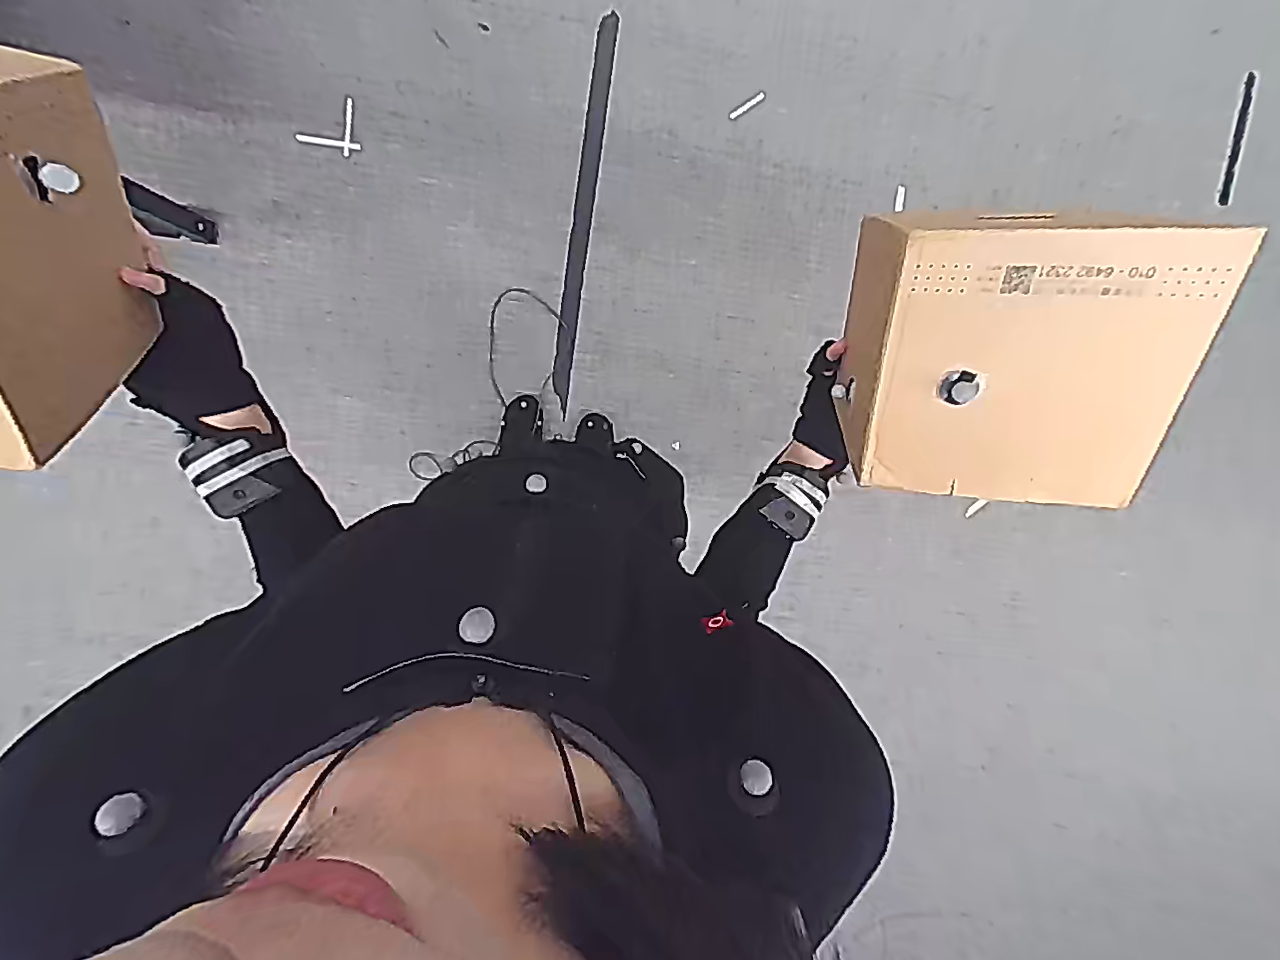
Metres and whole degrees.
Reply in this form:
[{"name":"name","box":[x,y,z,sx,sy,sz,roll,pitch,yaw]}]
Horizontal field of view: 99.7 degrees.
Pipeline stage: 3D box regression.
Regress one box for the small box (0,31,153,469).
[{"name":"small box","box":[-0.390,-0.124,0.259,0.168,0.179,0.176,3,128,-21]}]

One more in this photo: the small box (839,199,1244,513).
[{"name":"small box","box":[0.247,-0.098,0.381,0.168,0.179,0.176,6,120,11]}]
